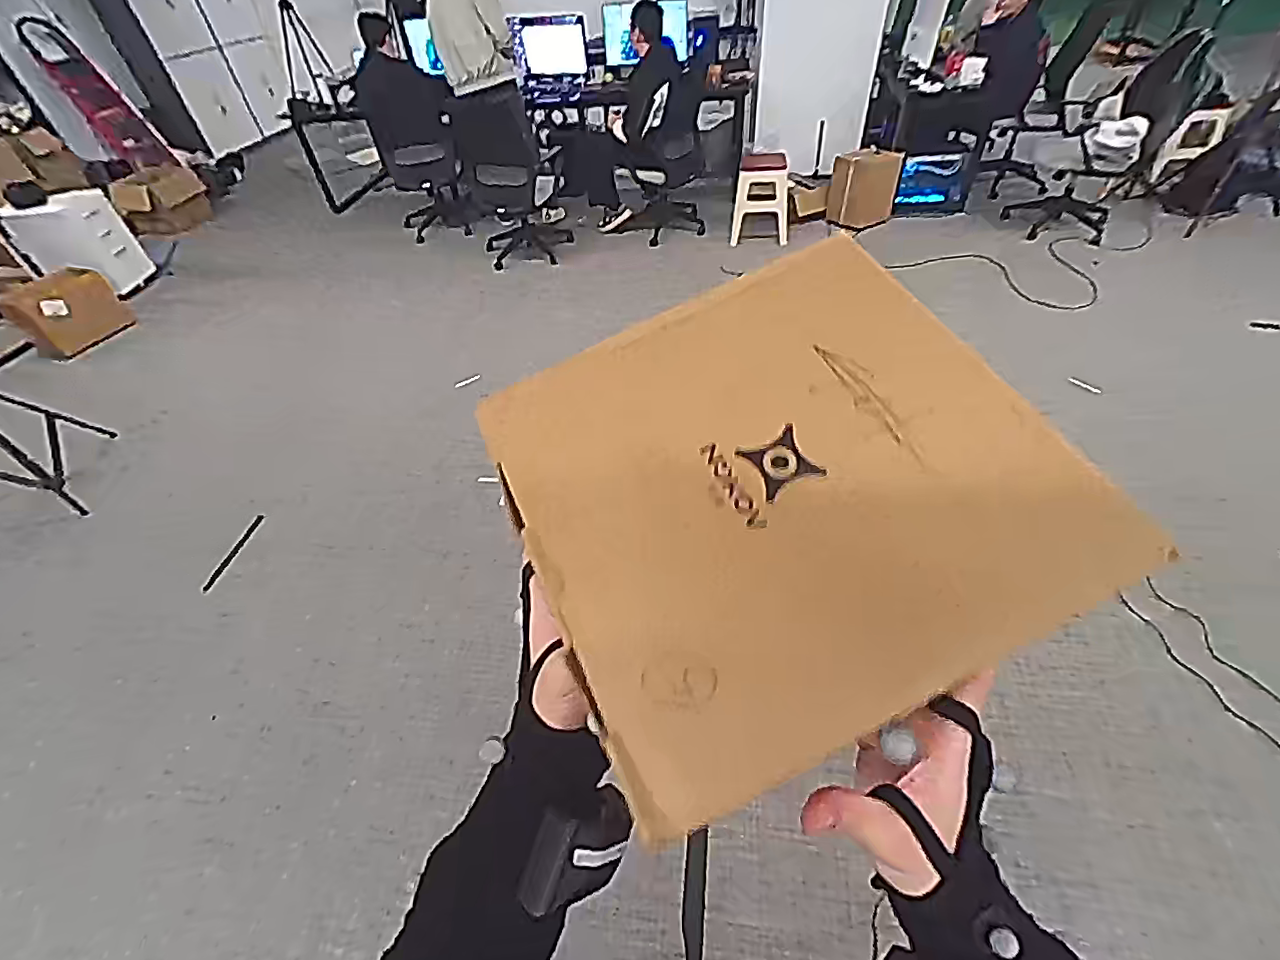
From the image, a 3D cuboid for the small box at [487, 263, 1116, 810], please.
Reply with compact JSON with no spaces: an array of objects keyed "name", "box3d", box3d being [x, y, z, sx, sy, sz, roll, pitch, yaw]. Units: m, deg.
[{"name":"small box","box3d":[0.055,0.037,0.272,0.179,0.176,0.168,-27,62,-6]}]
